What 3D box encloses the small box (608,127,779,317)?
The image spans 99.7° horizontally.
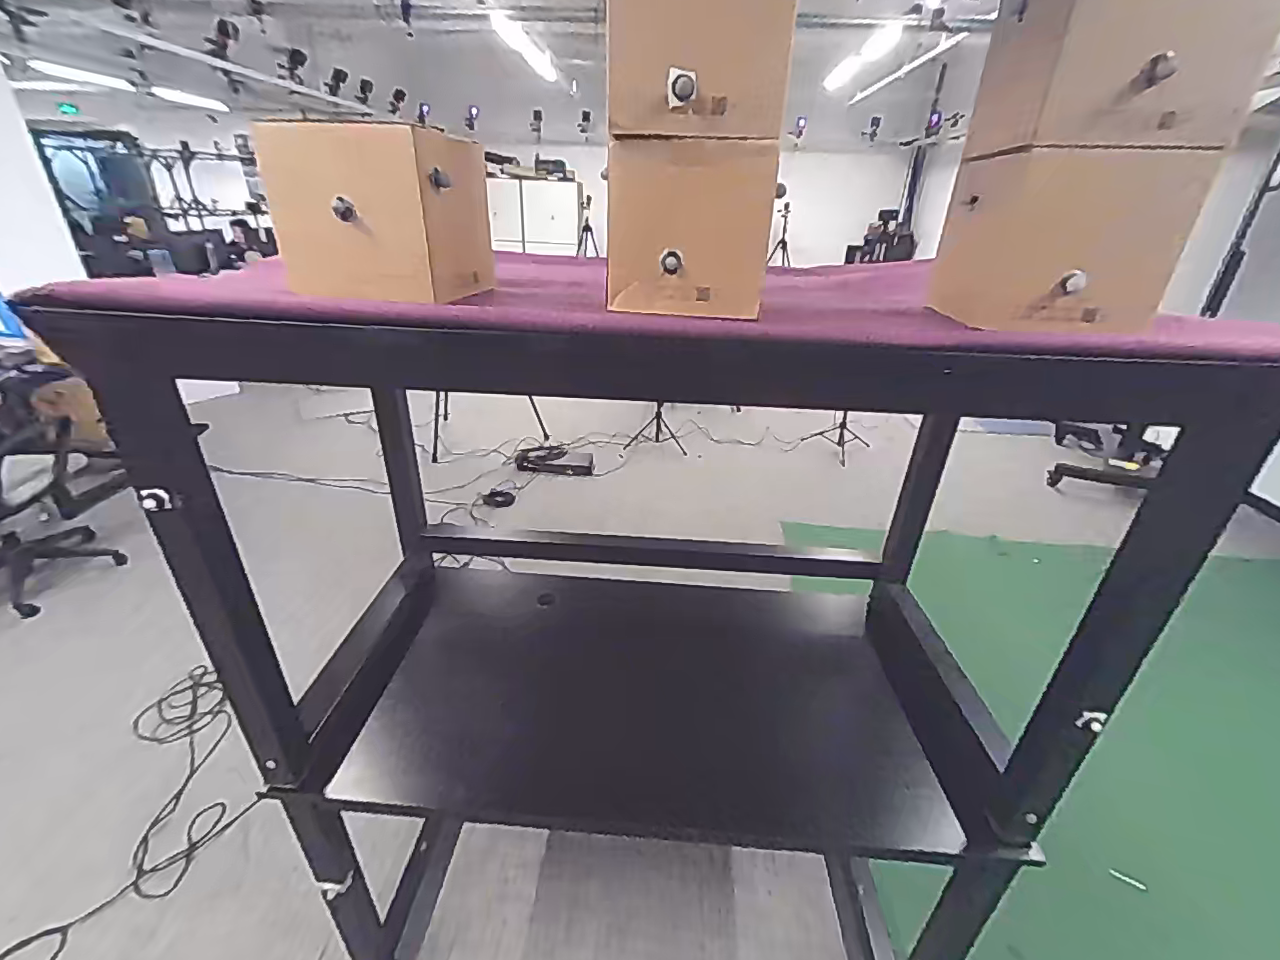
[{"bbox_3d":[0.057,-0.289,0.616,0.168,0.176,0.179,5,27,6],"label":"small box"}]

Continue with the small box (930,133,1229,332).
[{"bbox_3d":[0.442,-0.267,0.588,0.168,0.176,0.179,5,28,8],"label":"small box"}]

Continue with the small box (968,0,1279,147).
[{"bbox_3d":[0.445,-0.415,0.514,0.168,0.176,0.179,4,27,8],"label":"small box"}]

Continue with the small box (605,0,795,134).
[{"bbox_3d":[0.055,-0.433,0.540,0.168,0.176,0.179,1,28,2],"label":"small box"}]
